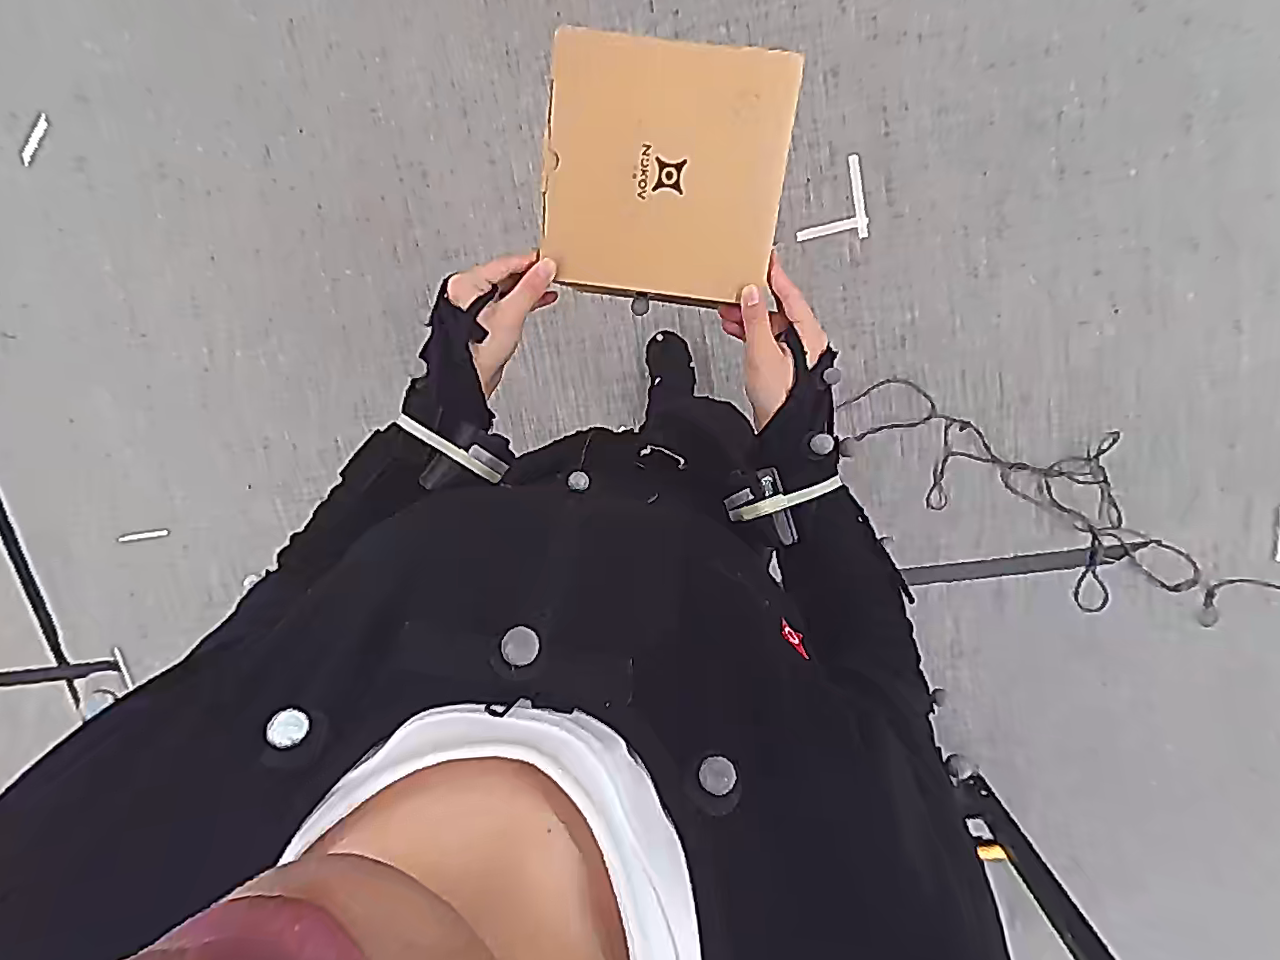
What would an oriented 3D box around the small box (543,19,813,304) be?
[{"bbox_3d":[0.027,-0.248,0.466,0.179,0.176,0.168,8,107,2],"label":"small box"}]
